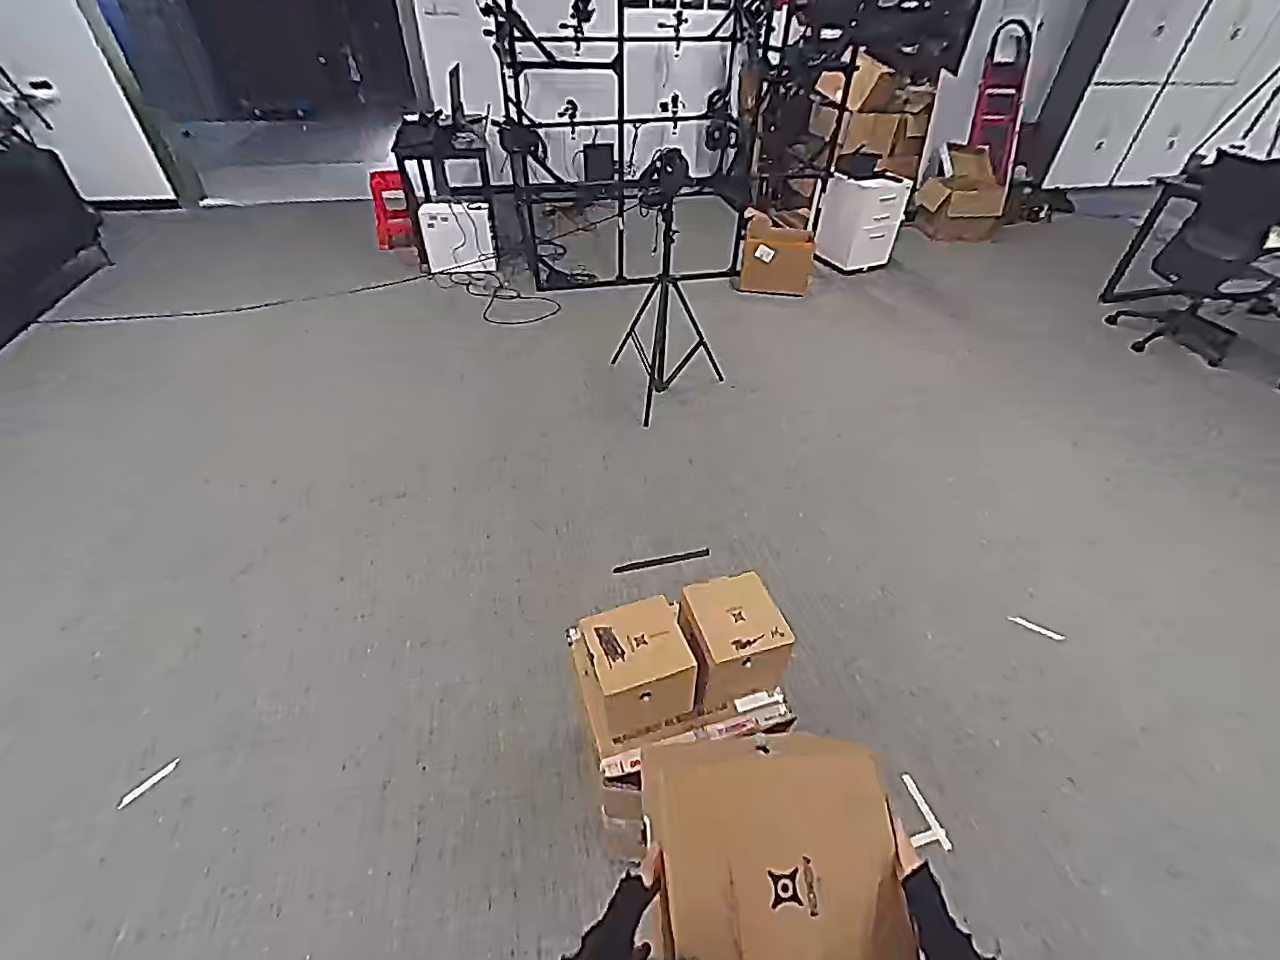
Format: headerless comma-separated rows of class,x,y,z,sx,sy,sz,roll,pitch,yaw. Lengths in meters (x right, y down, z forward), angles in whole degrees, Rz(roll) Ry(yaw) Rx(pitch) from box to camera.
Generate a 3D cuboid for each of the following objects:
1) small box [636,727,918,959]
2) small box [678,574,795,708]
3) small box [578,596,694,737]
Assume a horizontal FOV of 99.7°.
small box,0.095,0.308,0.457,0.179,0.176,0.168,-2,69,-6
small box,0.180,0.319,1.081,0.168,0.176,0.179,-9,41,-15
small box,-0.008,0.357,1.032,0.179,0.176,0.168,-14,43,-15
